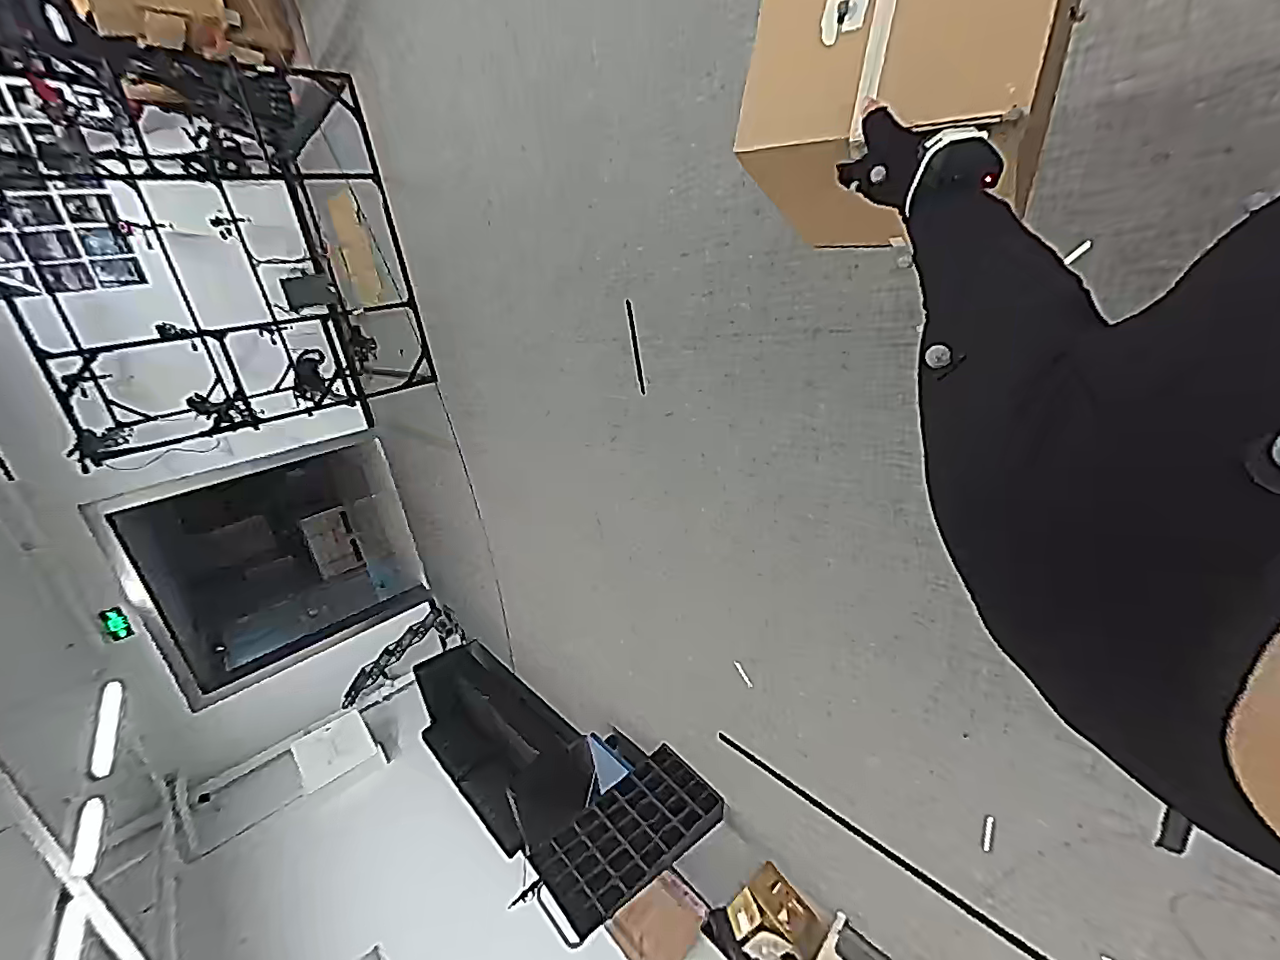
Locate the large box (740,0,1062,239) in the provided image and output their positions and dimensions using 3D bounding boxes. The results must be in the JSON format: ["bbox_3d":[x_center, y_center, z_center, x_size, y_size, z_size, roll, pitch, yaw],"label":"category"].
[{"bbox_3d":[0.362,-0.582,0.715,0.320,0.320,0.408,14,98,34],"label":"large box"}]
